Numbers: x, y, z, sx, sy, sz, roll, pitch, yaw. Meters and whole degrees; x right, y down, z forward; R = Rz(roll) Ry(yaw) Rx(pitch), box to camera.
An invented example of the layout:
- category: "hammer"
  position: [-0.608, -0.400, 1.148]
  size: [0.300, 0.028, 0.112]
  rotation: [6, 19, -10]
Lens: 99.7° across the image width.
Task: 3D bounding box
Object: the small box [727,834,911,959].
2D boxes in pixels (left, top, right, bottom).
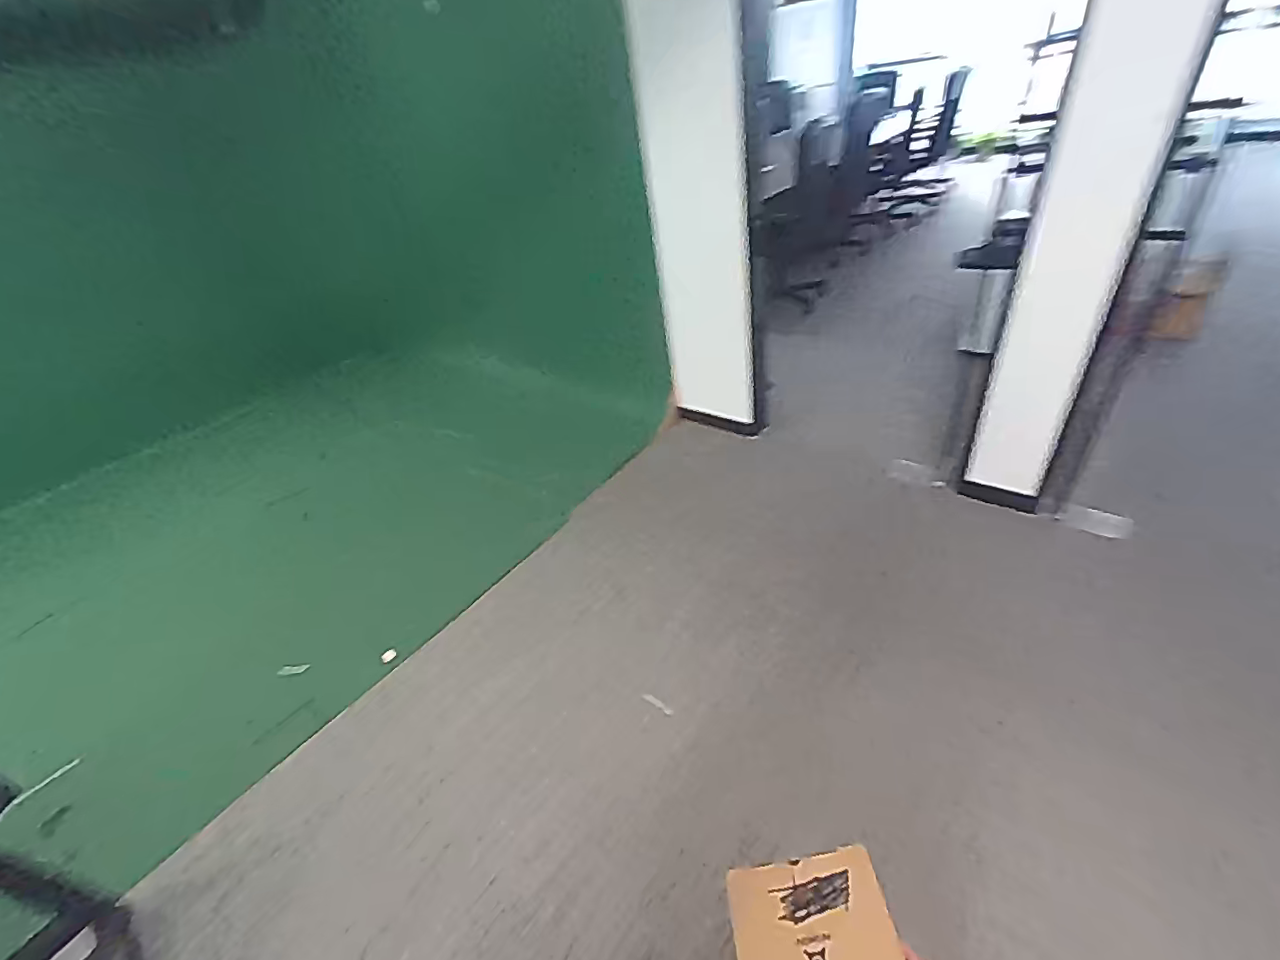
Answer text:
- category: "small box"
  position: [0.205, 0.533, 0.588]
  size: [0.168, 0.176, 0.179]
  rotation: [-18, 29, 7]
